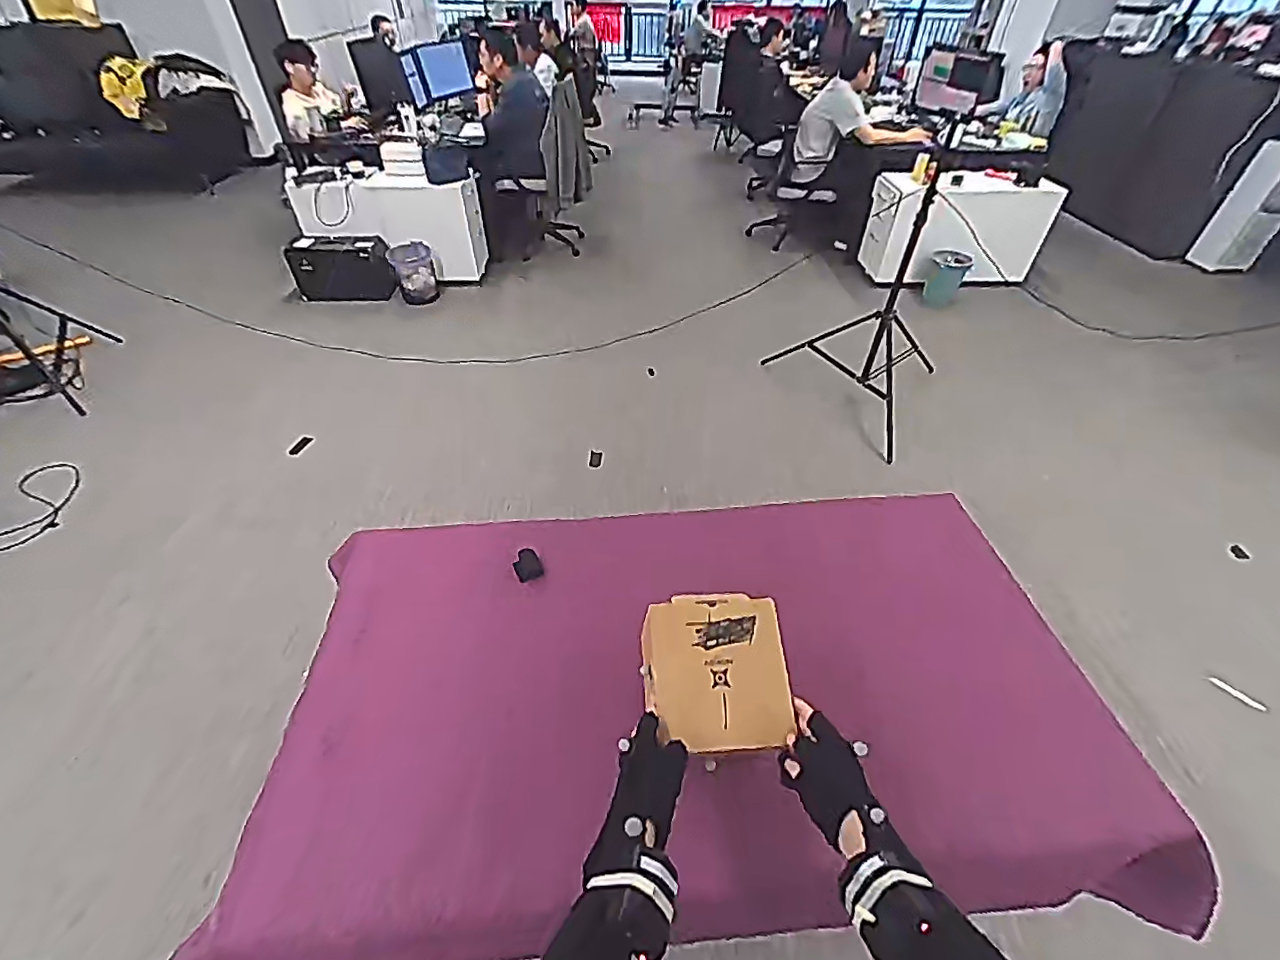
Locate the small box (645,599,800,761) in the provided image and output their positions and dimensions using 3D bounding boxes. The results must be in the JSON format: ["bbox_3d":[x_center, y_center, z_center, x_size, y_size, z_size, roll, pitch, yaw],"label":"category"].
[{"bbox_3d":[0.097,0.274,0.732,0.168,0.176,0.179,-2,60,-4],"label":"small box"}]
